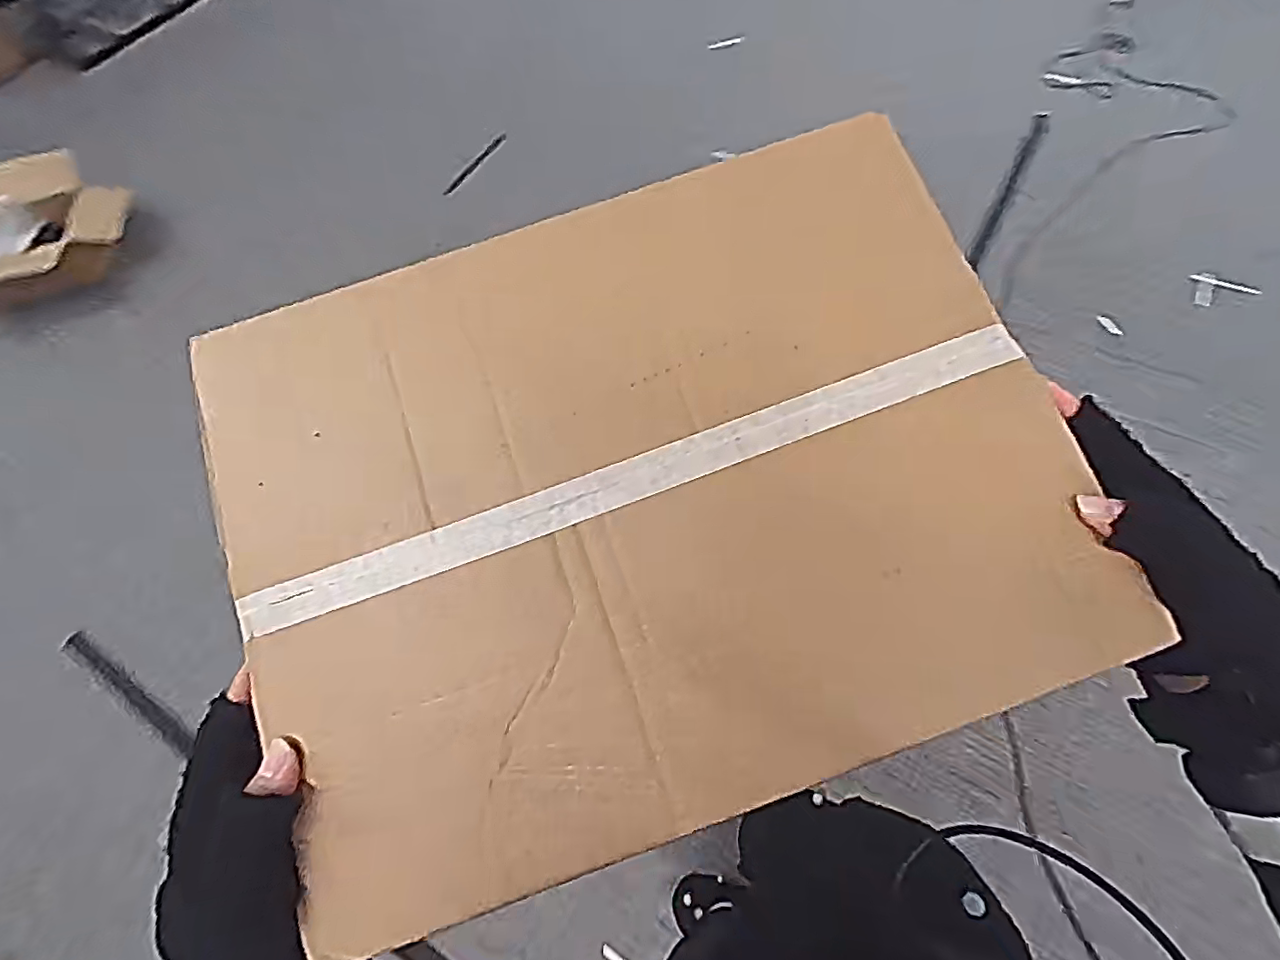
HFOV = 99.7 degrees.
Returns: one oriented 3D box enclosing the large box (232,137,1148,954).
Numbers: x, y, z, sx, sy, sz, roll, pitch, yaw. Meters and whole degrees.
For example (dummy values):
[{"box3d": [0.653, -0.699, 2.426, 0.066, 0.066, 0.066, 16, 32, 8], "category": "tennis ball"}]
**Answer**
[{"box3d": [0.014, 0.035, 0.423, 0.408, 0.320, 0.320, -19, 77, -1], "category": "large box"}]
